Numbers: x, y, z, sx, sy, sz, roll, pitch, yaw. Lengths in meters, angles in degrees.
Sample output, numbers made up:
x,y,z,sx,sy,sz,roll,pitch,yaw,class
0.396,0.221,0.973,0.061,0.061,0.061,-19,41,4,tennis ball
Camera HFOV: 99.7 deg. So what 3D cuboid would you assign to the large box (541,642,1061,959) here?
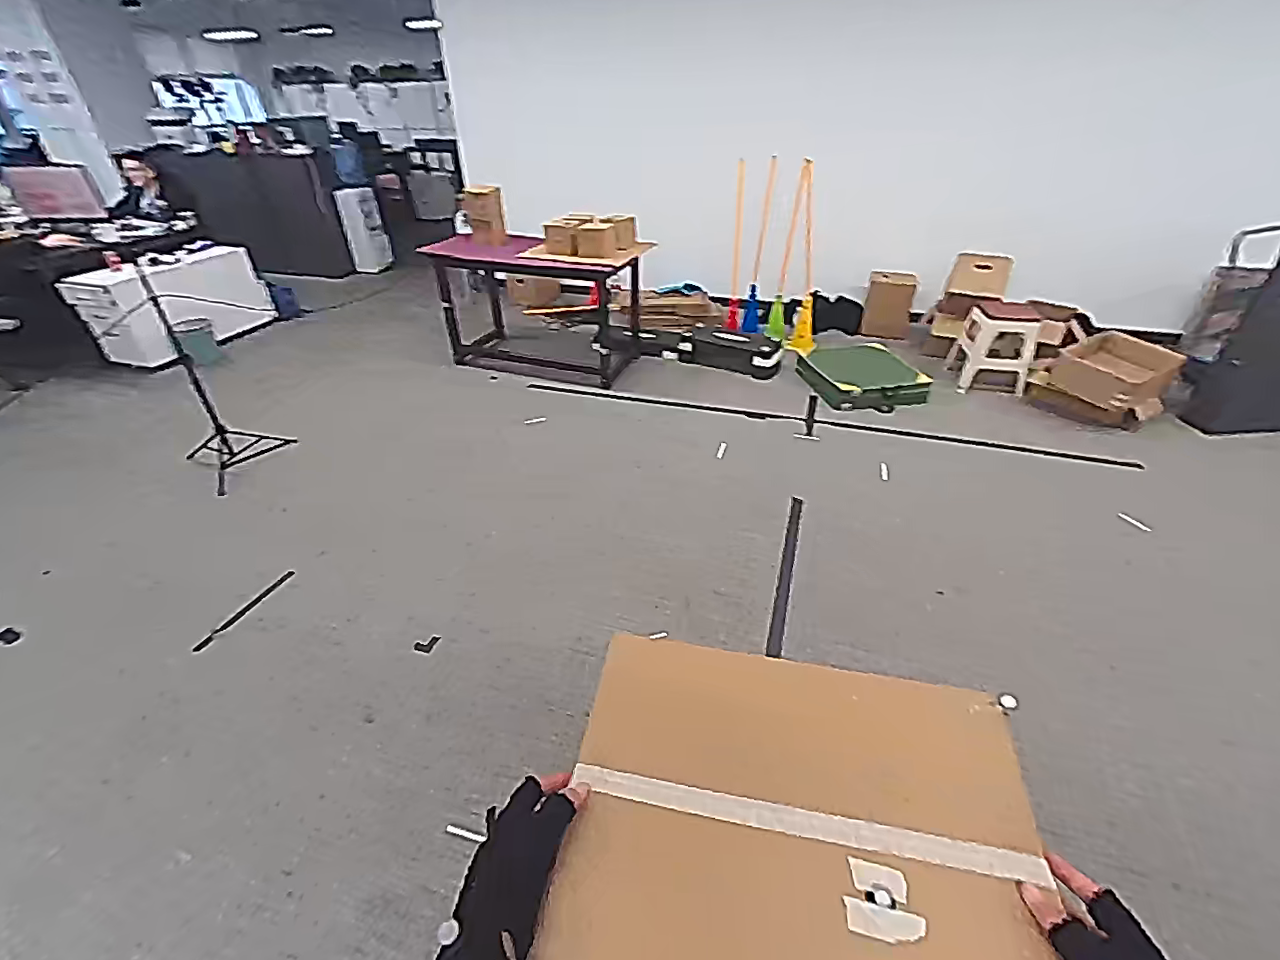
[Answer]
x,y,z,sx,sy,sz,roll,pitch,yaw,class
0.146,0.419,0.590,0.408,0.320,0.320,6,44,11,large box
